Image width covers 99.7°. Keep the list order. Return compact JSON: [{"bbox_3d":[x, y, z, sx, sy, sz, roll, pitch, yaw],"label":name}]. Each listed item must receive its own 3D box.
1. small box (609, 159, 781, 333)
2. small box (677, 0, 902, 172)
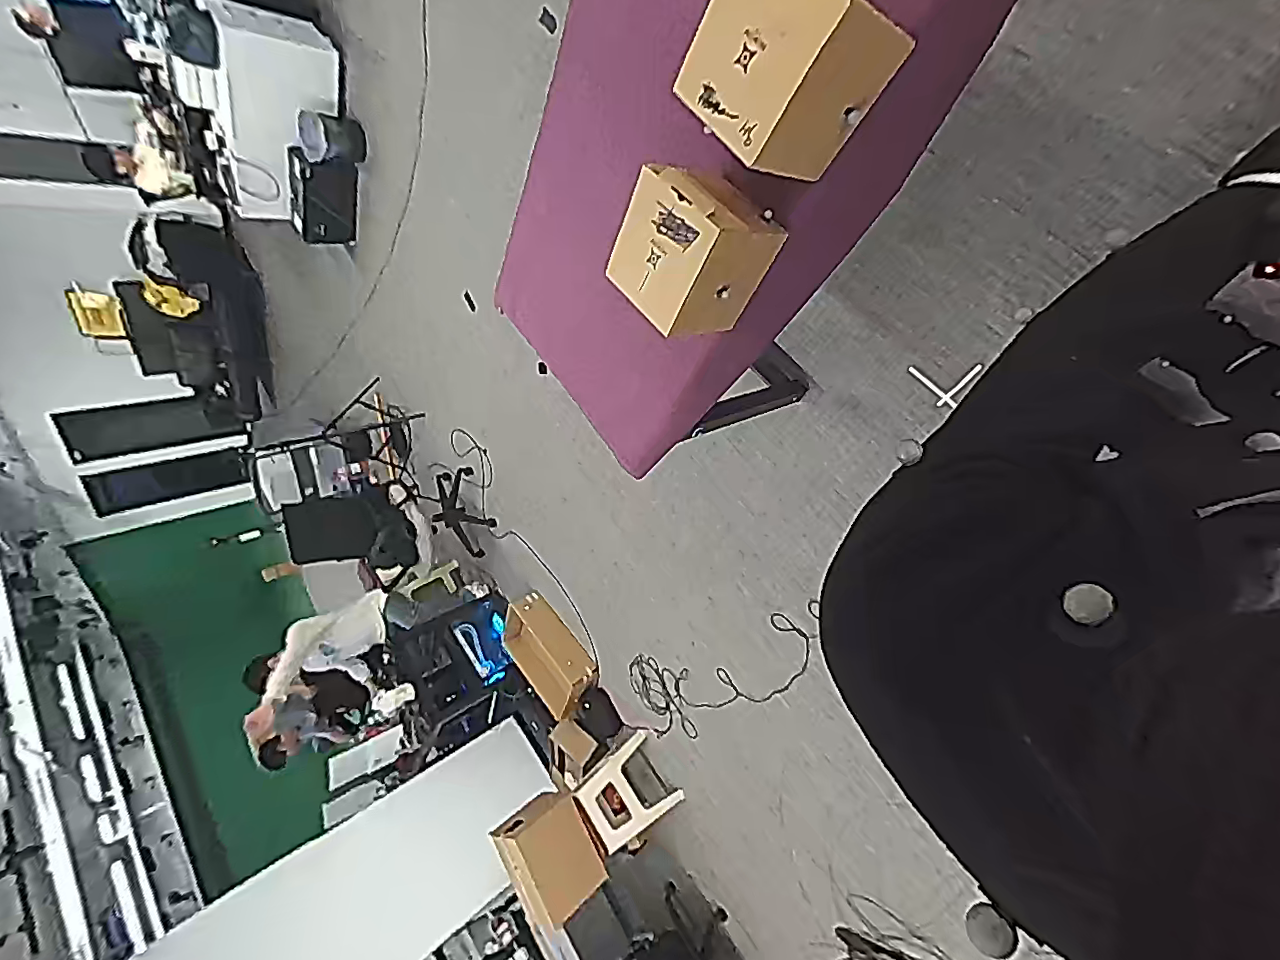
[{"bbox_3d":[0.087,-0.352,0.824,0.168,0.176,0.179,52,138,21],"label":"small box"},{"bbox_3d":[0.185,-0.510,0.655,0.168,0.176,0.179,55,137,17],"label":"small box"}]
